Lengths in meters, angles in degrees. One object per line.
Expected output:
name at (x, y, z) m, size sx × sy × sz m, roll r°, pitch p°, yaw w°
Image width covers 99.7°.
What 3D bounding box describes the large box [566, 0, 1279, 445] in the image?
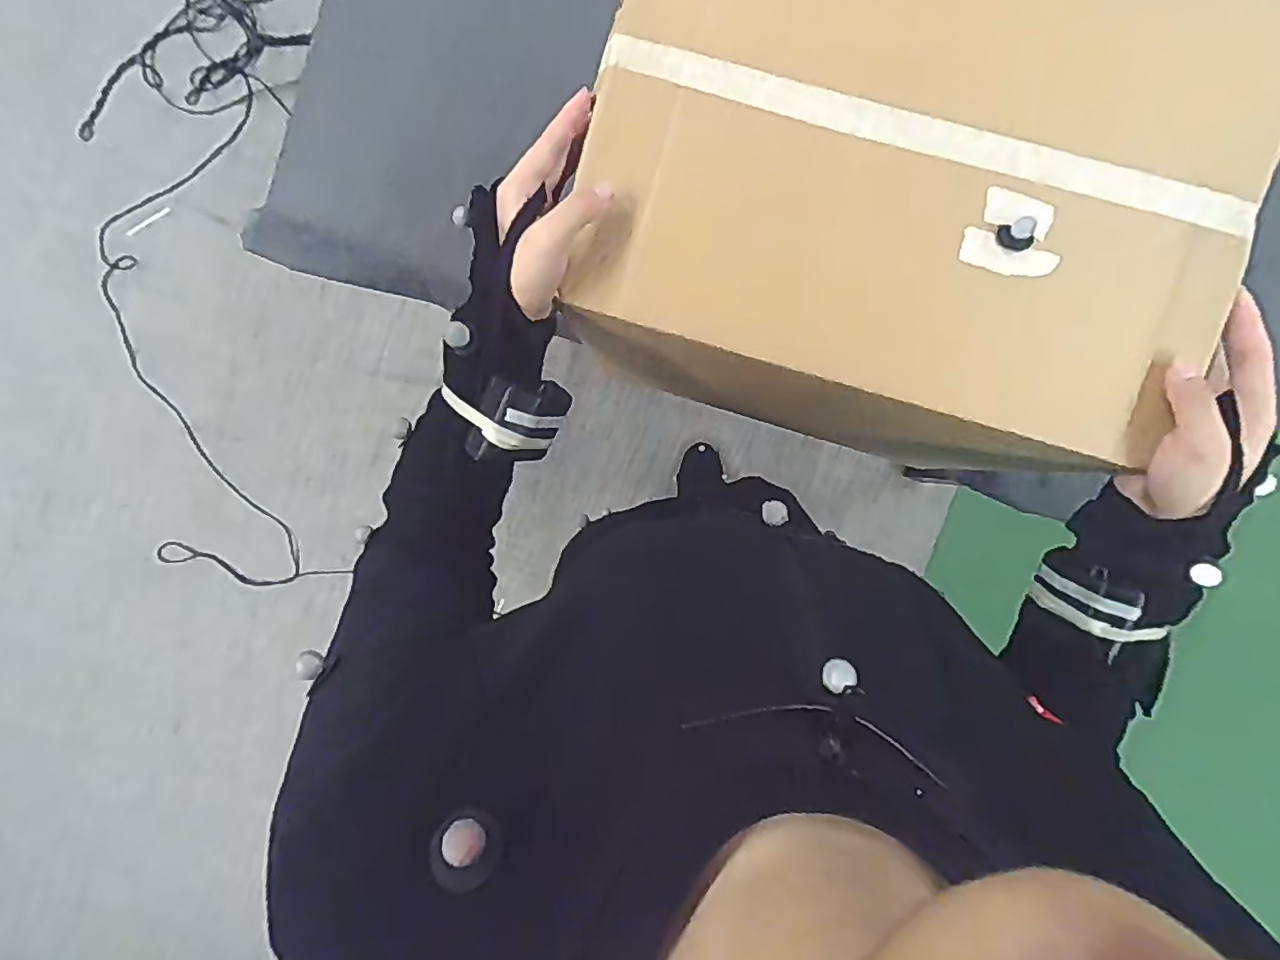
large box at (0.182, -0.233, 0.488) m, size 0.408 × 0.320 × 0.320 m, roll 16°, pitch 94°, yaw 0°
